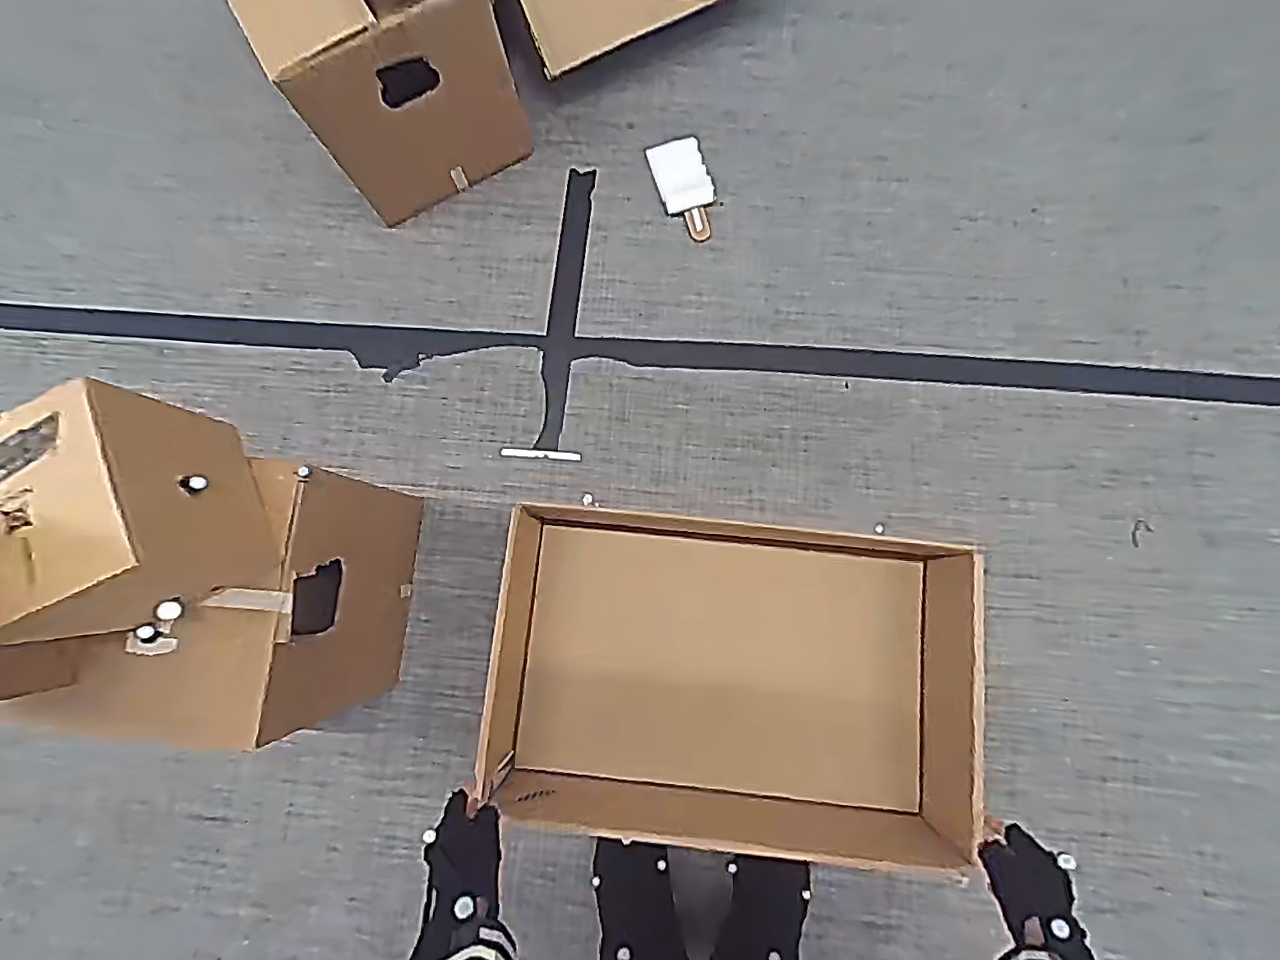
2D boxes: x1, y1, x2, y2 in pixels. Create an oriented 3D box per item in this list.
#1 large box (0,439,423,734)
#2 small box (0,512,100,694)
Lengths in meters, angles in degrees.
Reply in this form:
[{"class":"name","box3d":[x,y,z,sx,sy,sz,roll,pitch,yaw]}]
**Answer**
[{"class":"large box","box3d":[-0.576,0.135,0.752,0.408,0.320,0.320,3,82,2]},{"class":"small box","box3d":[-0.684,0.115,0.515,0.168,0.176,0.179,3,80,1]}]
